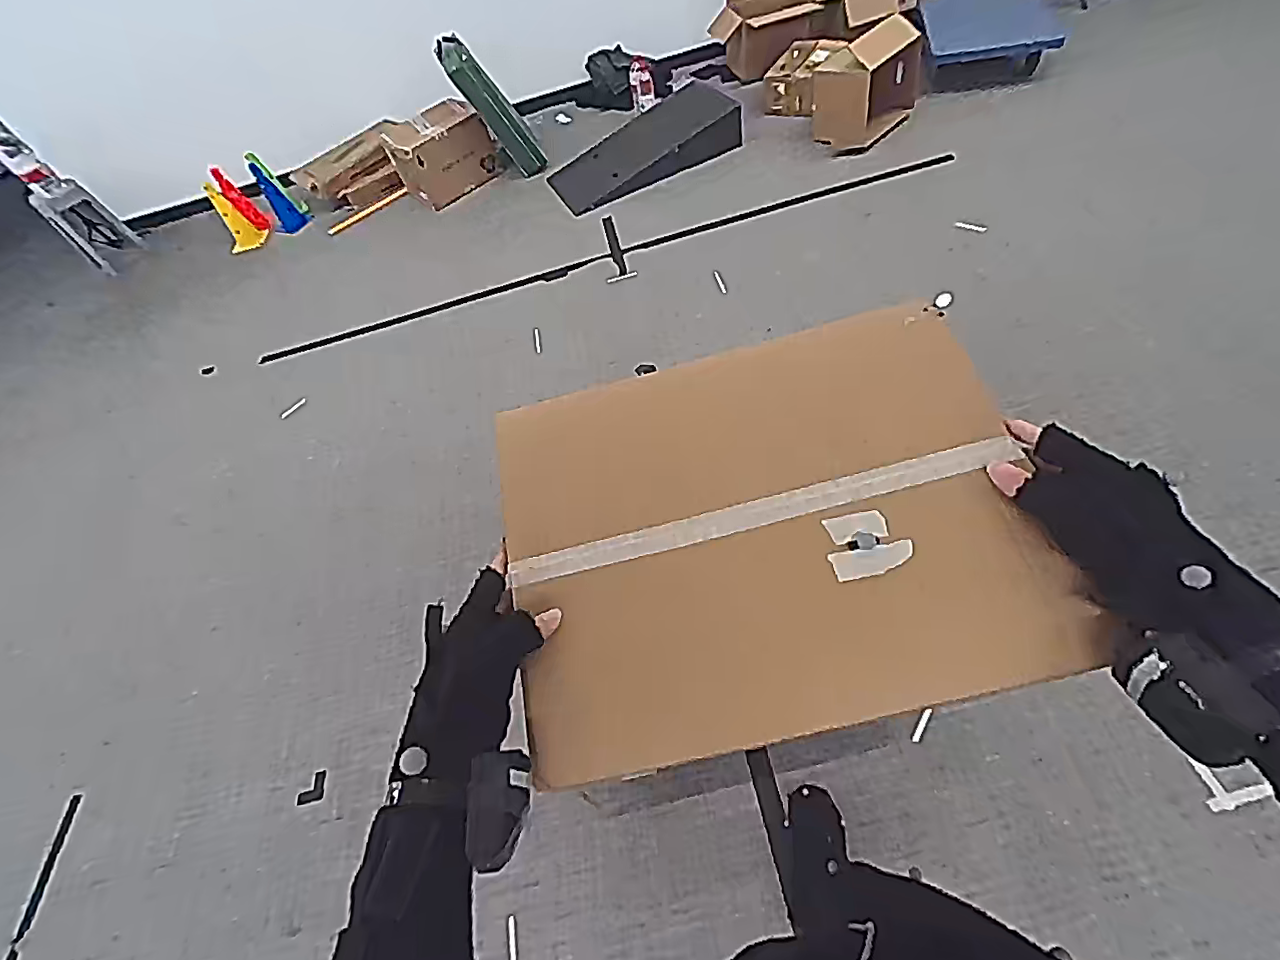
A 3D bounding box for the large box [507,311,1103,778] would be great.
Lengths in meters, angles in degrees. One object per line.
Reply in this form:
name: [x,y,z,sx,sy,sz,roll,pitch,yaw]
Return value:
large box: [0.117,0.090,0.574,0.408,0.320,0.320,-15,65,3]
